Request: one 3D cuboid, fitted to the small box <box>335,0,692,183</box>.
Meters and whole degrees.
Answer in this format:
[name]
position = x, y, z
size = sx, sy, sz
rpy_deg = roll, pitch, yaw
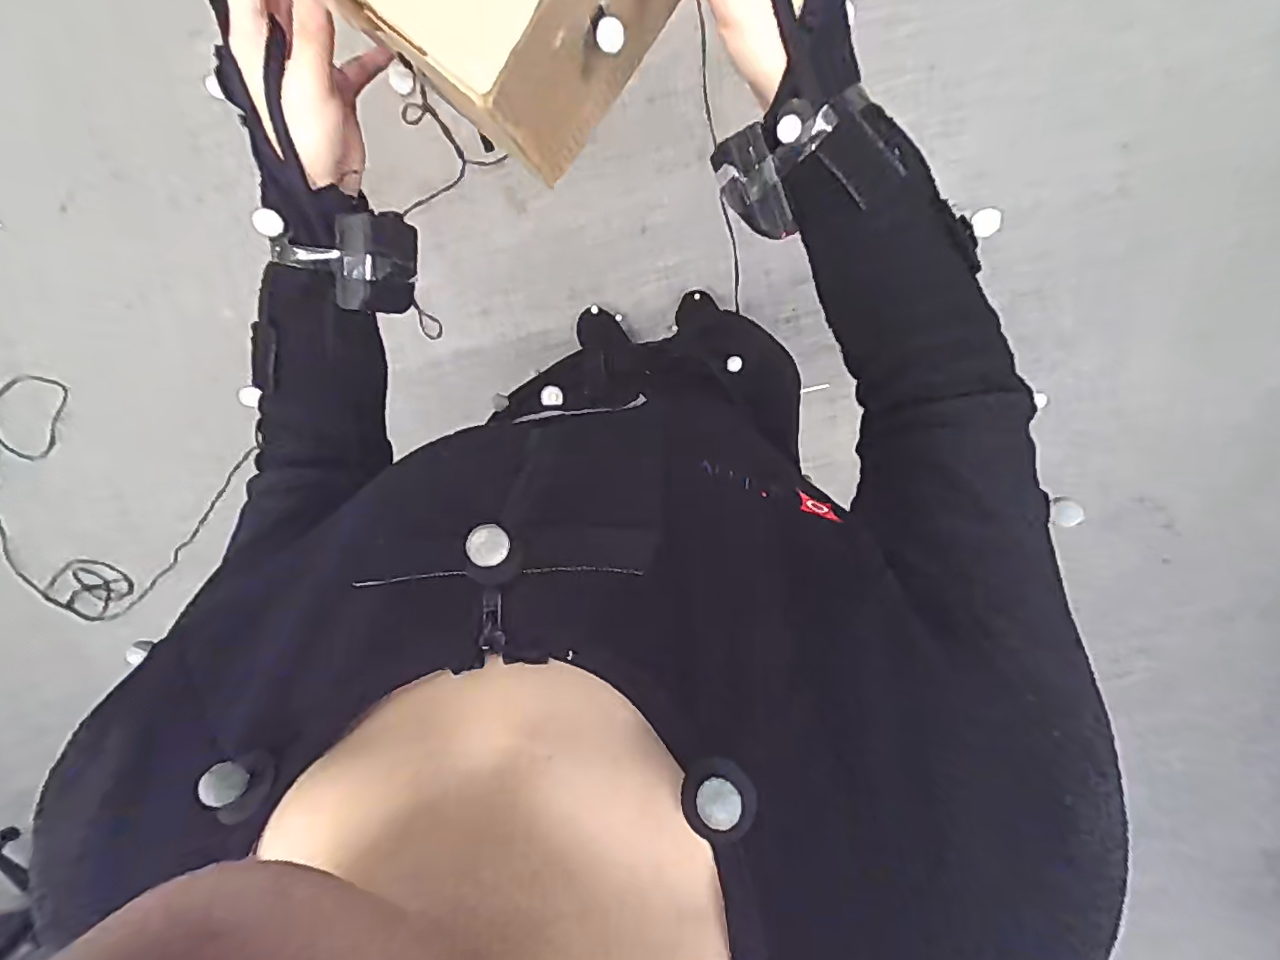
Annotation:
[small box]
position = -0.070, -0.293, 0.282
size = 0.168, 0.176, 0.179
rpy_deg = 38, 105, -9
